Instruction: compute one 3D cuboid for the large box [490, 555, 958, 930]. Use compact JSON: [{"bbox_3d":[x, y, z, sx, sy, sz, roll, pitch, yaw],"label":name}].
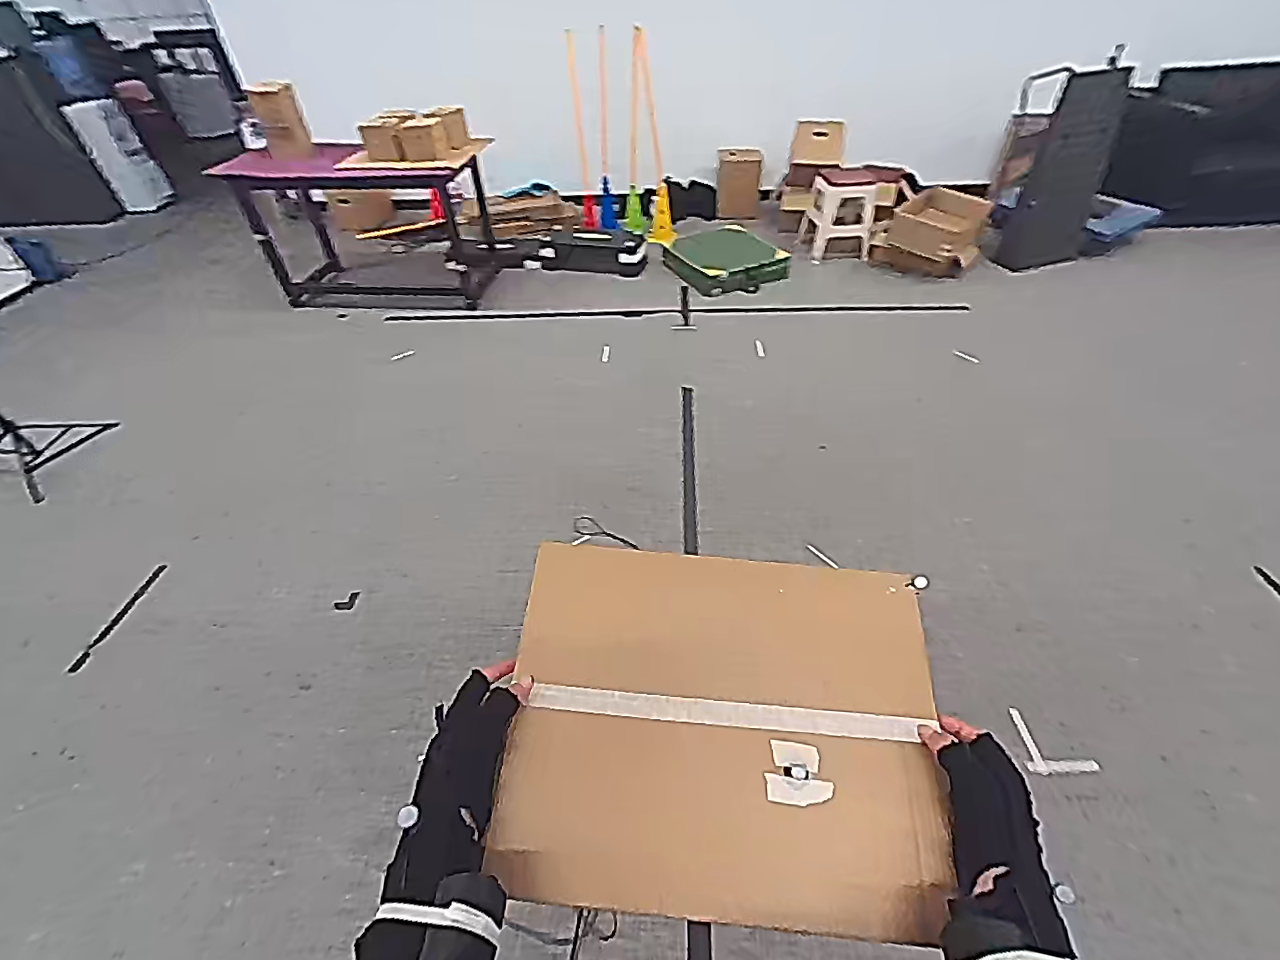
[{"bbox_3d":[0.075,0.303,0.655,0.408,0.320,0.320,4,61,2],"label":"large box"}]
